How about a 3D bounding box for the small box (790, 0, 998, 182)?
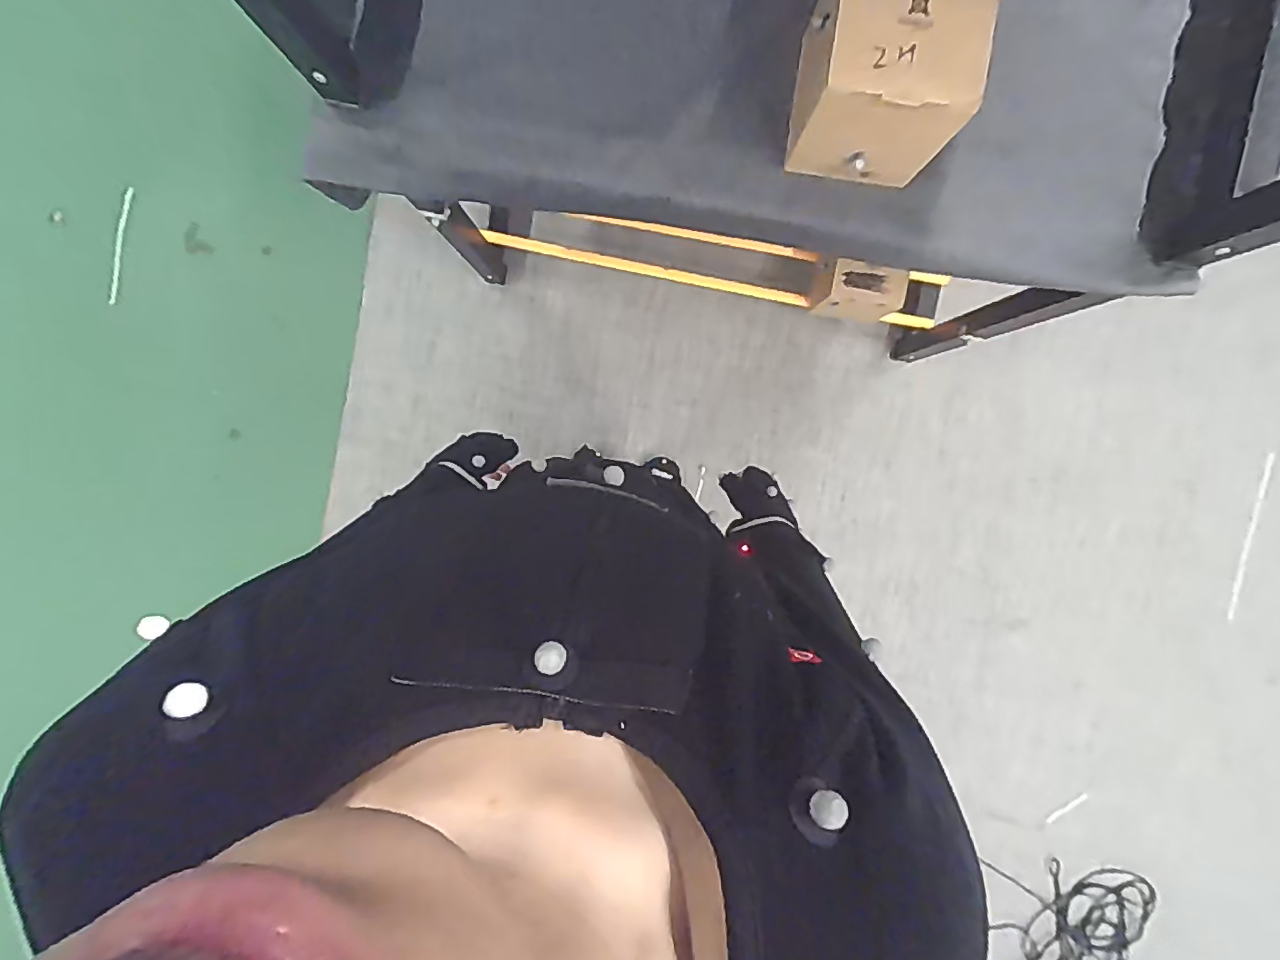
[{"bbox_3d":[0.290,-0.496,0.646,0.168,0.176,0.179,8,92,0],"label":"small box"}]
